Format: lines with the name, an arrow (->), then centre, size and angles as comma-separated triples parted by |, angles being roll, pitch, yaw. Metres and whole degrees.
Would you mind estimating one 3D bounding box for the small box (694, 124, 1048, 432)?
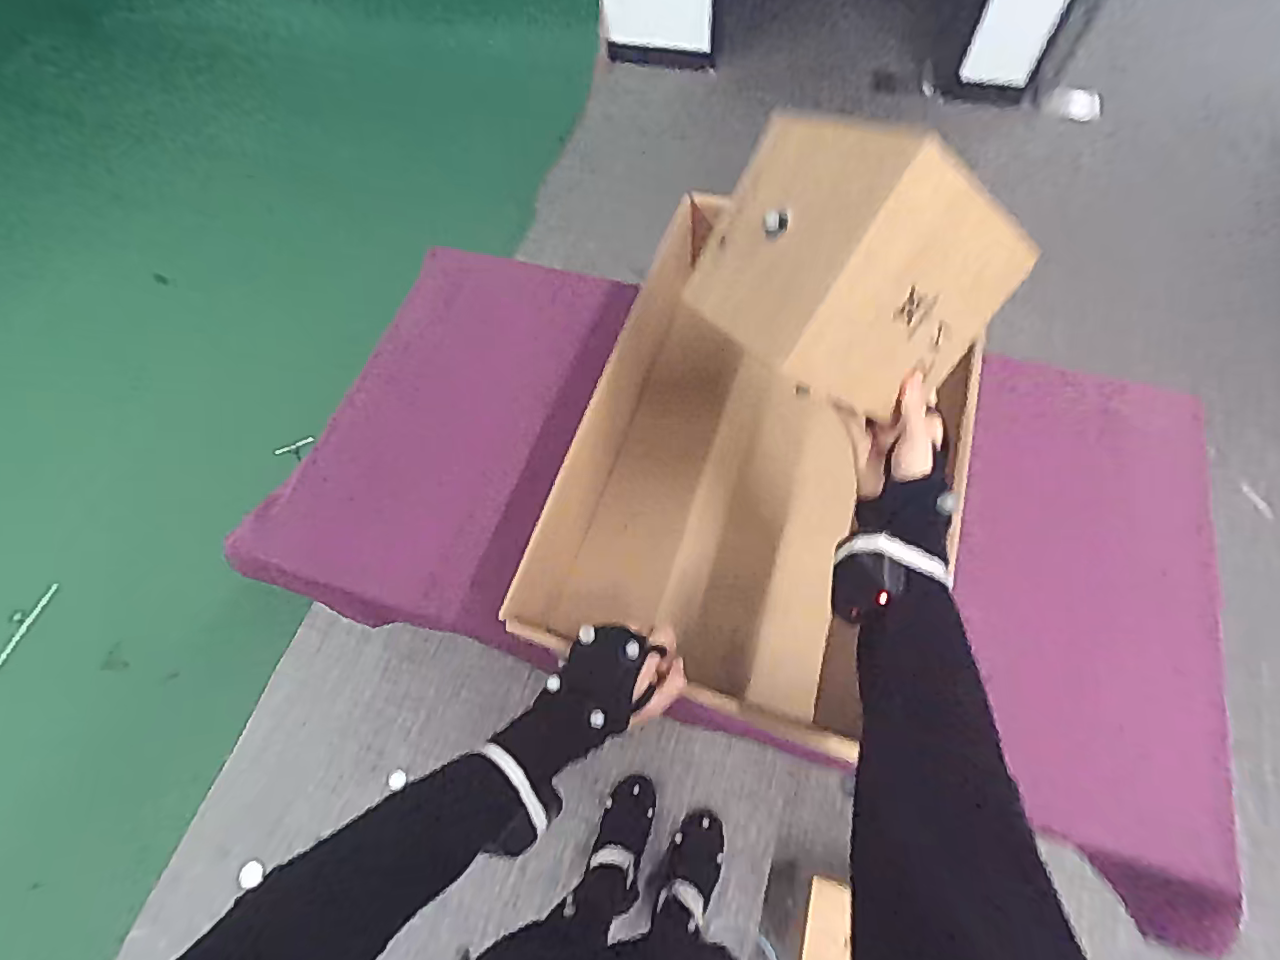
small box -> 0.176, -0.168, 0.453 | 0.179, 0.168, 0.176 | 13, 30, -35
